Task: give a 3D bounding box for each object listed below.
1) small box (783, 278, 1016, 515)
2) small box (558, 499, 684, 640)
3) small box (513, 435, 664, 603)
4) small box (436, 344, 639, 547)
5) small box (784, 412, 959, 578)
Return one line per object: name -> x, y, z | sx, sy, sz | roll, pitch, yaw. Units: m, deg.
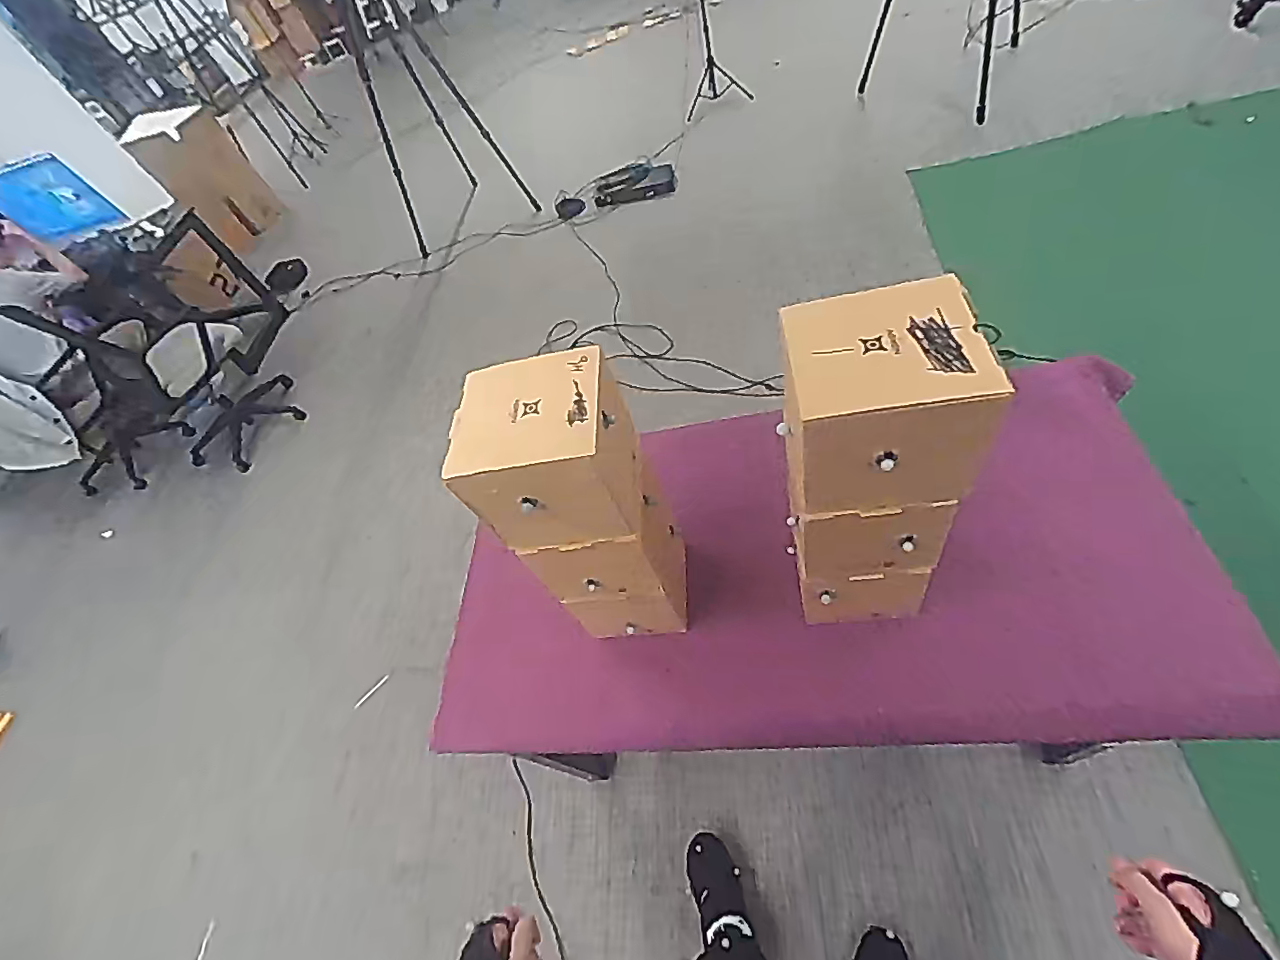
small box -> 0.250, -0.078, 0.570 | 0.179, 0.176, 0.168 | -7, 53, 13
small box -> -0.022, 0.154, 0.908 | 0.168, 0.176, 0.179 | -7, 54, 14
small box -> -0.063, 0.060, 0.782 | 0.168, 0.176, 0.179 | -8, 54, 12
small box -> -0.109, -0.032, 0.654 | 0.179, 0.176, 0.168 | -9, 54, 12
small box -> 0.284, 0.016, 0.699 | 0.168, 0.176, 0.179 | -7, 53, 12
